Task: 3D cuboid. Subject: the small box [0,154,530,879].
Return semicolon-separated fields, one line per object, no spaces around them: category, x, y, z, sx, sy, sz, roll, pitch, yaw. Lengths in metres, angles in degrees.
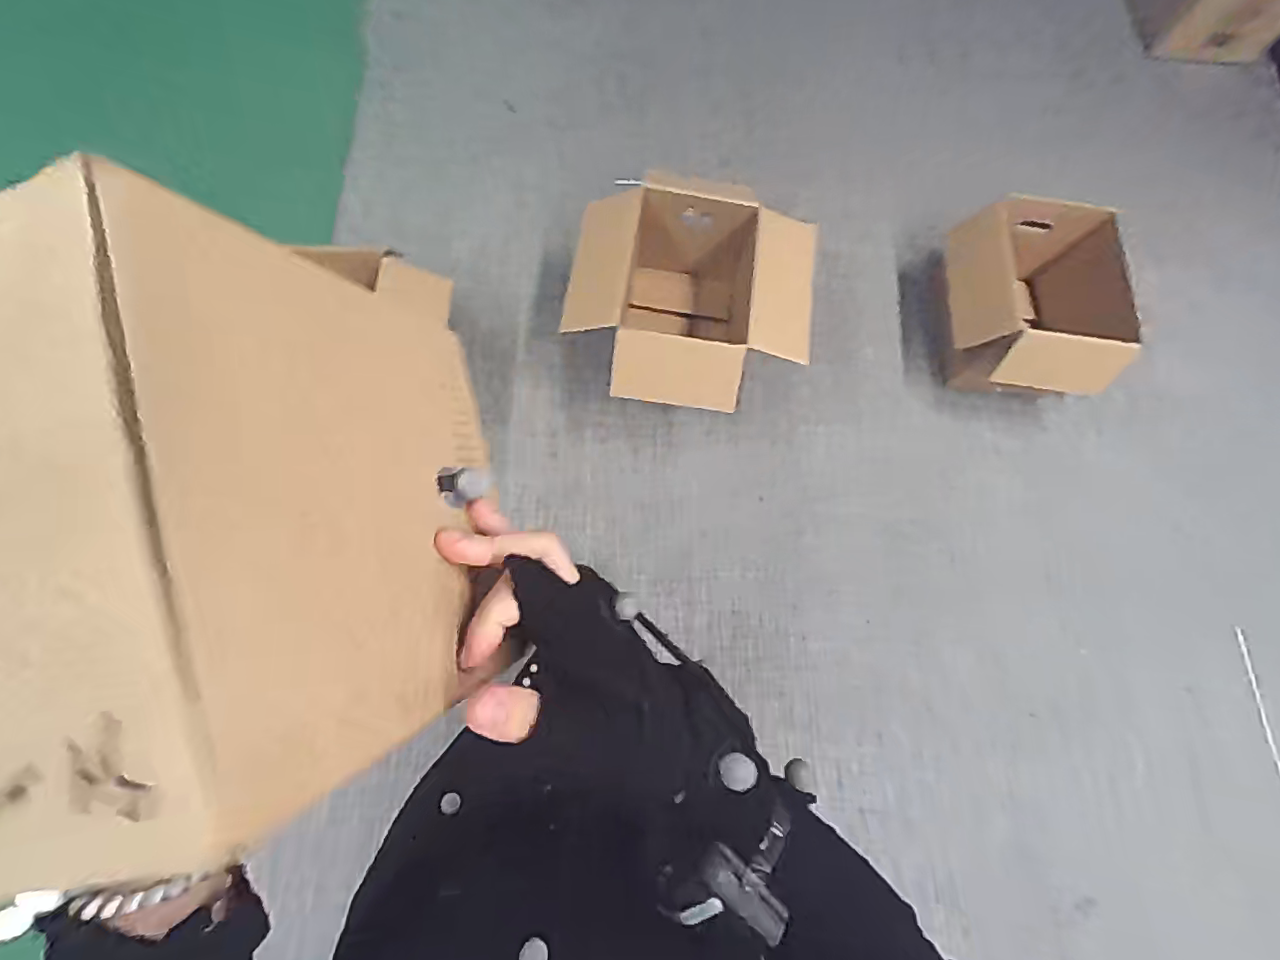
small box;-0.164;0.019;0.224;0.168;0.176;0.179;-14;88;9
